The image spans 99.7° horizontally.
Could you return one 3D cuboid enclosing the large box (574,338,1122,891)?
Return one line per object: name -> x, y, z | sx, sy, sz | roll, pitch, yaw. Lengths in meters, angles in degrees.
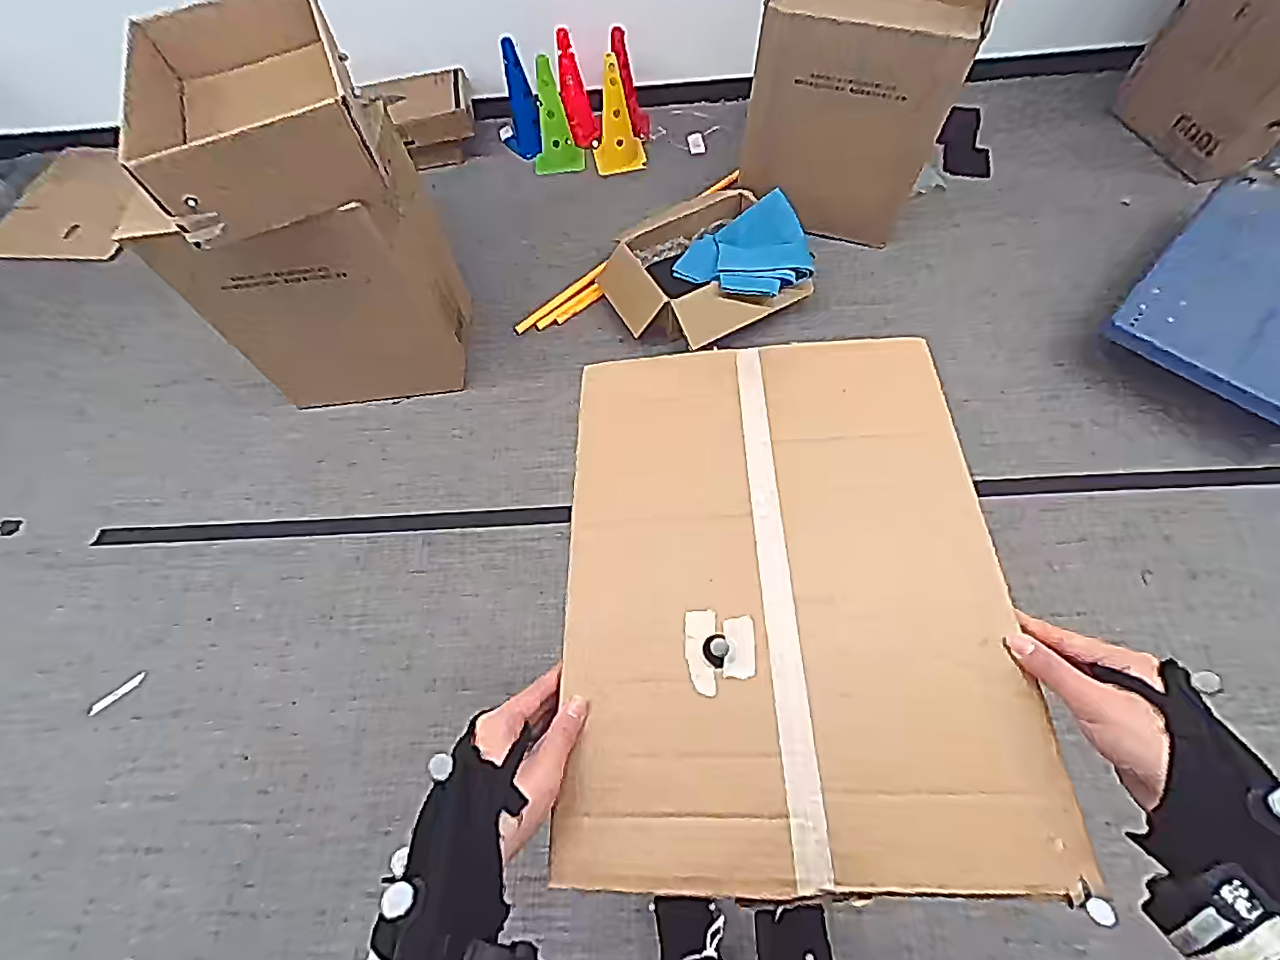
large box -> 0.124, 0.125, 0.530 | 0.320, 0.320, 0.408 | -4, 62, 6
